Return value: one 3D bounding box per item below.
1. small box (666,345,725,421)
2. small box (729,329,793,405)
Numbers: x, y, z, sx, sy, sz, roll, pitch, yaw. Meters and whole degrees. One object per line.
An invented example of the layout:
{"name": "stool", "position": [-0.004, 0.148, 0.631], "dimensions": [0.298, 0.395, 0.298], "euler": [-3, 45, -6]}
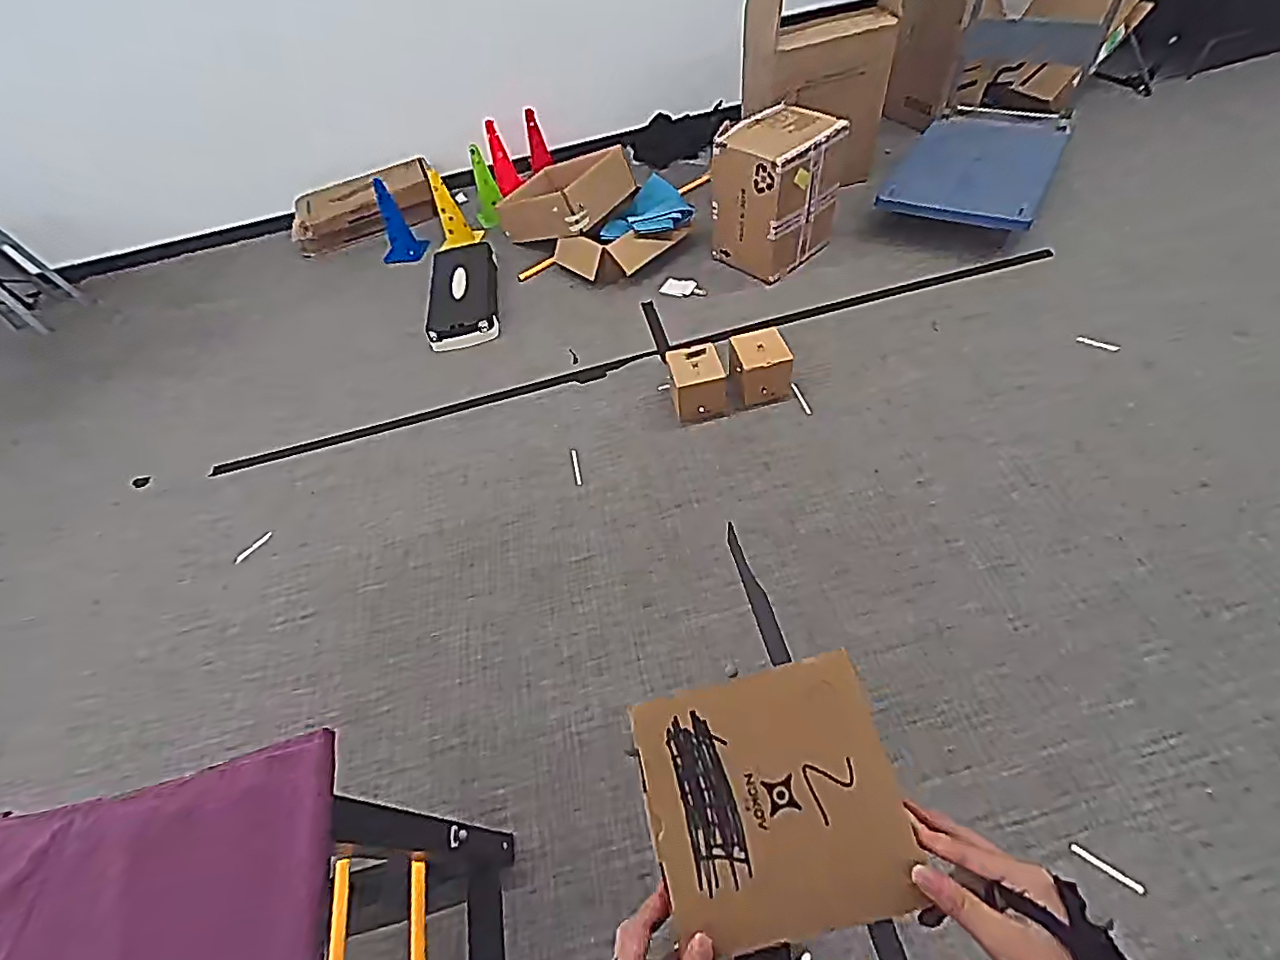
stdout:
{"name": "small box", "position": [0.187, -0.328, 1.841], "dimensions": [0.168, 0.176, 0.179], "euler": [-13, 53, -1]}
{"name": "small box", "position": [0.406, -0.386, 1.856], "dimensions": [0.168, 0.176, 0.179], "euler": [-14, 53, -2]}
